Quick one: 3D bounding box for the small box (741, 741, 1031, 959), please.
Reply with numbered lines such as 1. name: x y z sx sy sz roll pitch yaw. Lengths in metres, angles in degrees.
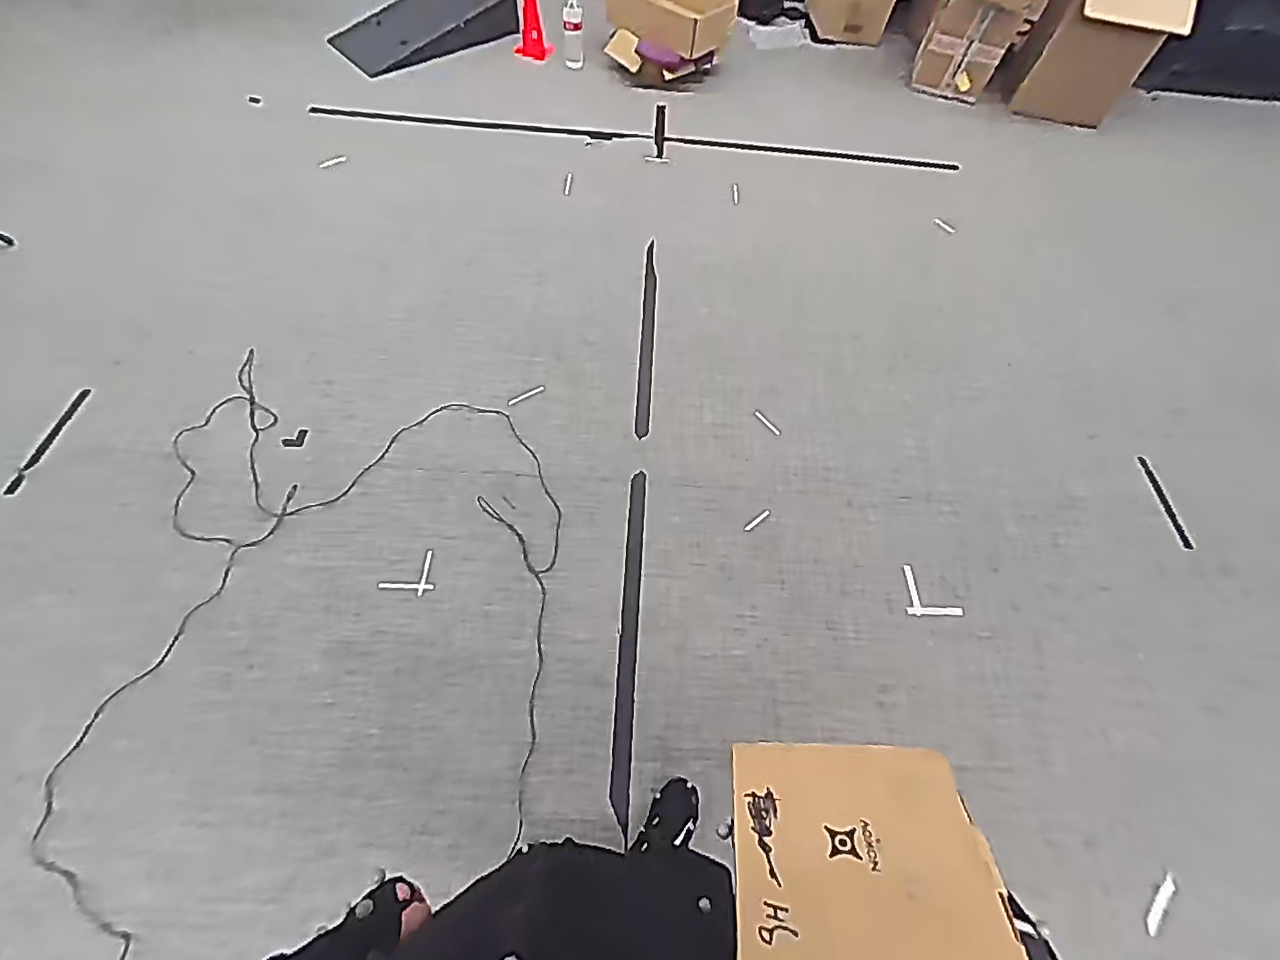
1. small box: 0.173 0.344 0.437 0.179 0.176 0.168 -1 24 10
